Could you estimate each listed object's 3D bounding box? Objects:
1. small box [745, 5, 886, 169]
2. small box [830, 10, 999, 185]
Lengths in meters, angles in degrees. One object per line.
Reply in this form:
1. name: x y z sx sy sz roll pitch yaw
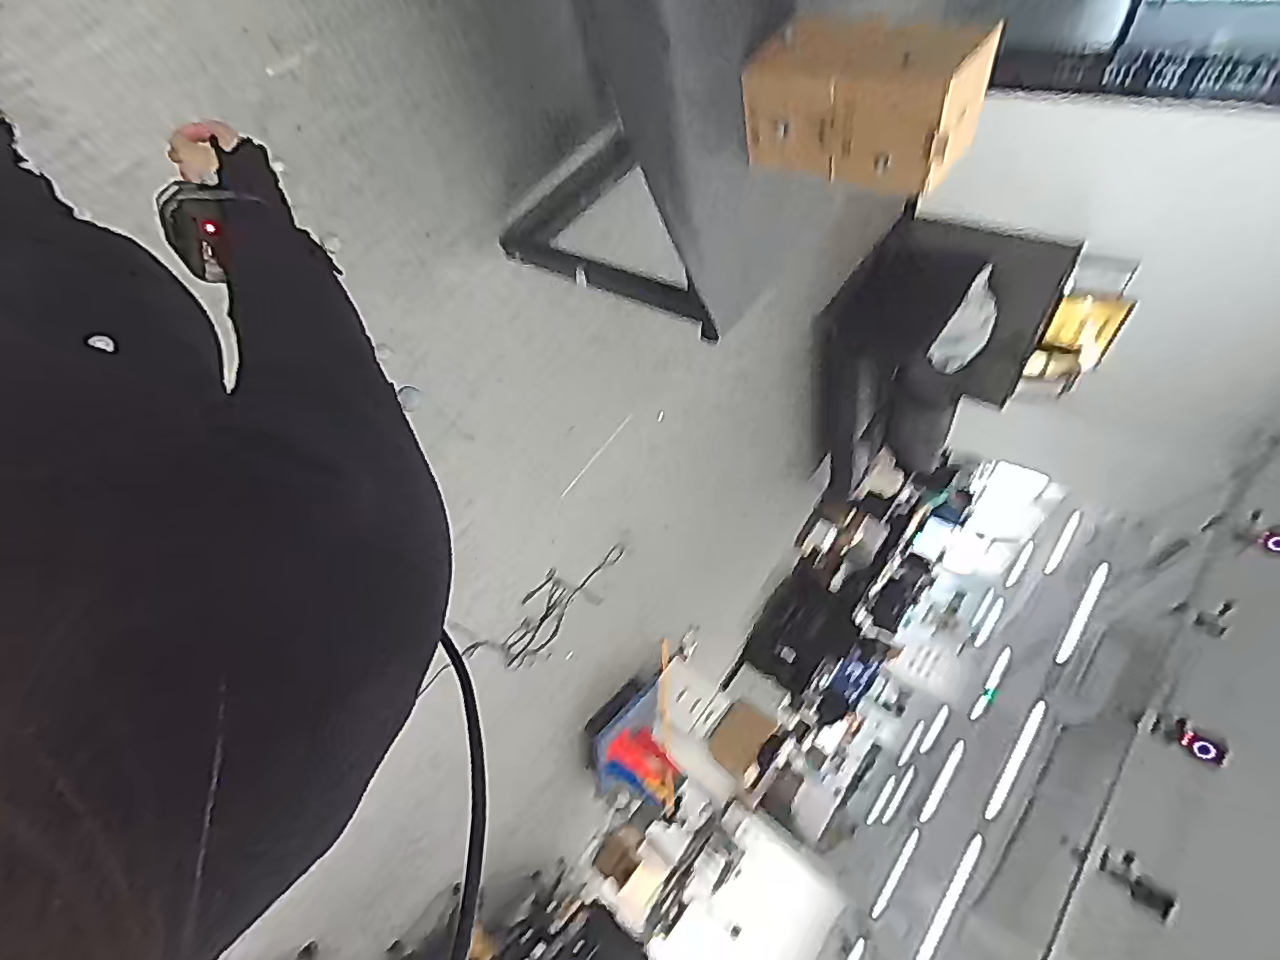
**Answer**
1. small box: 0.291 -0.668 0.923 0.179 0.176 0.168 -51 149 -15
2. small box: 0.415 -0.597 0.846 0.179 0.176 0.168 -51 150 -18
